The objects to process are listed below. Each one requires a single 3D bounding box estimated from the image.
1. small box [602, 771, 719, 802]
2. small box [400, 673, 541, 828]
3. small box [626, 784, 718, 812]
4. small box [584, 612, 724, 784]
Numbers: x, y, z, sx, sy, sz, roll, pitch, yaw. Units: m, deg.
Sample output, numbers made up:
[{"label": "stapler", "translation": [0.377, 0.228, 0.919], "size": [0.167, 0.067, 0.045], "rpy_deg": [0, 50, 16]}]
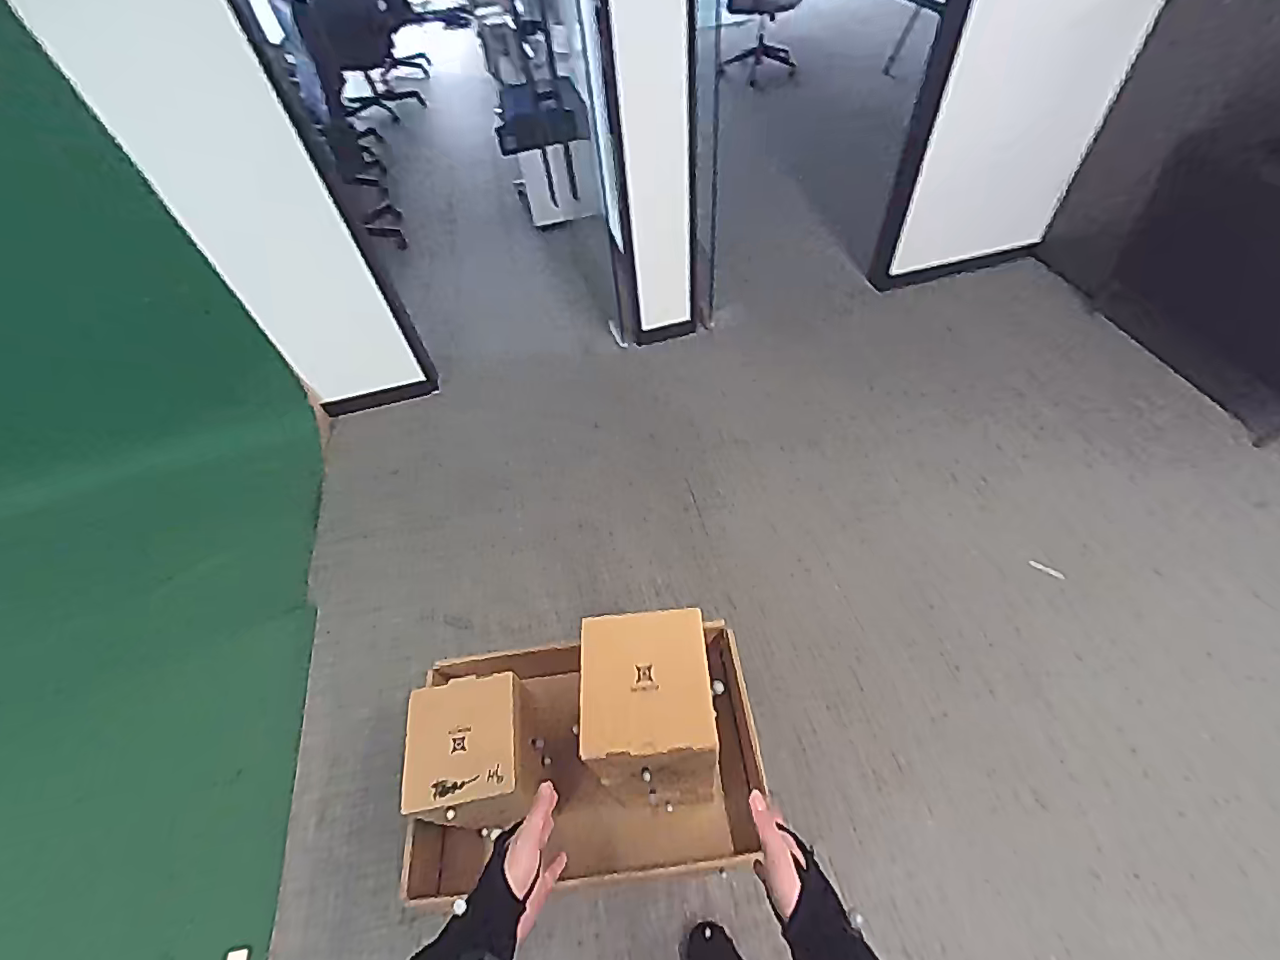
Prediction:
[{"label": "small box", "translation": [0.030, 0.400, 0.865], "size": [0.168, 0.176, 0.179], "rpy_deg": [-5, 53, 2]}, {"label": "small box", "translation": [-0.259, 0.434, 0.865], "size": [0.168, 0.176, 0.179], "rpy_deg": [-11, 52, -1]}, {"label": "small box", "translation": [0.048, 0.497, 0.994], "size": [0.168, 0.176, 0.179], "rpy_deg": [-4, 53, 3]}, {"label": "small box", "translation": [0.018, 0.300, 0.738], "size": [0.168, 0.176, 0.179], "rpy_deg": [-5, 53, 2]}]
